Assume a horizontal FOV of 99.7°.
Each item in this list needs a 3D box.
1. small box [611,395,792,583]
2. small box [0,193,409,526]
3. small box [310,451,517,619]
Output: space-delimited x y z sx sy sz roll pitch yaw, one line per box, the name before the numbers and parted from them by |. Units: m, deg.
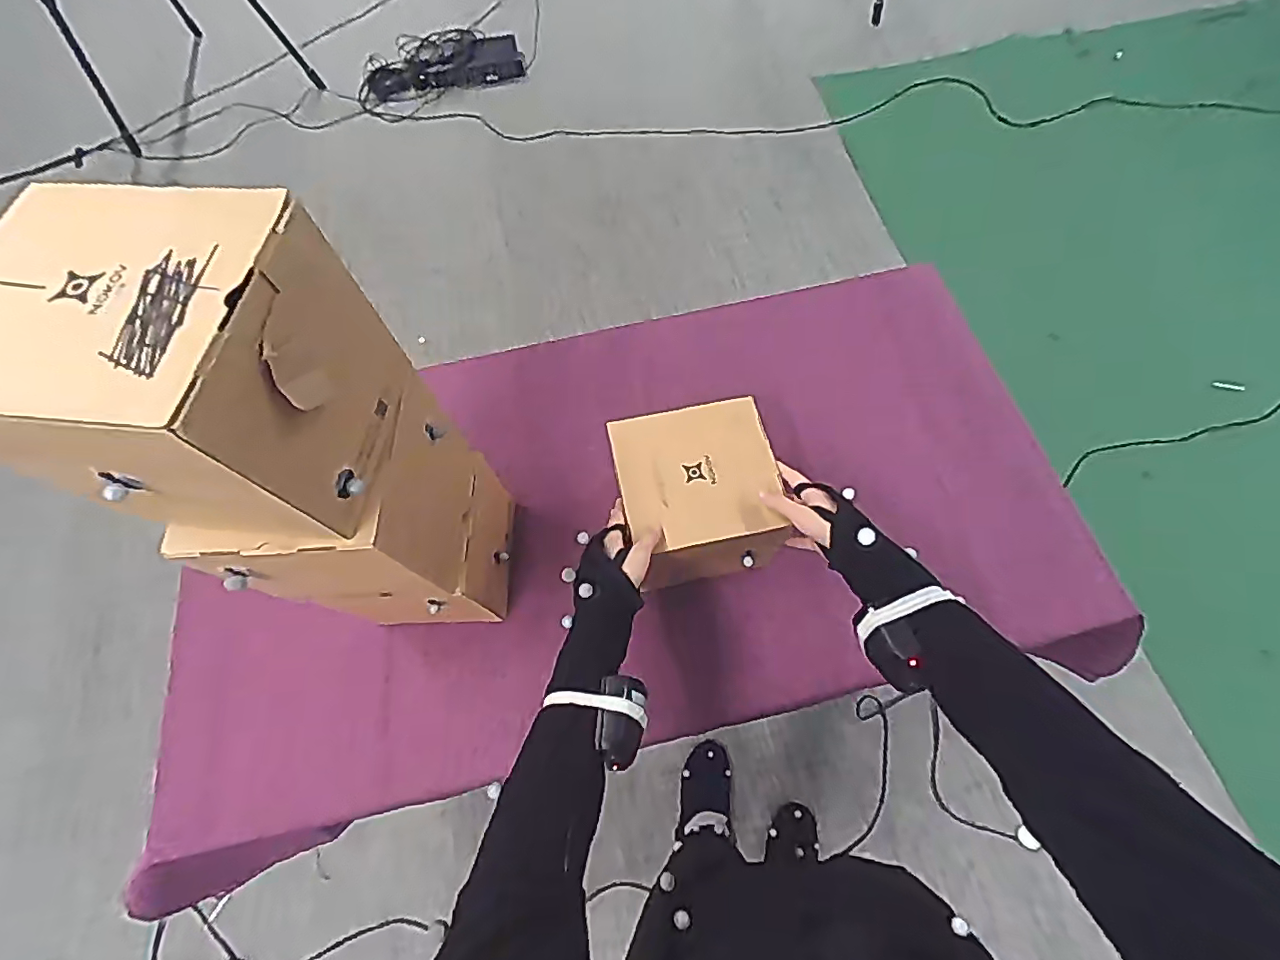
small box | 0.067 0.019 0.681 0.179 0.176 0.168 -11 65 -3
small box | -0.296 -0.073 0.387 0.179 0.176 0.168 3 65 5
small box | -0.266 0.076 0.679 0.179 0.176 0.168 -2 65 1
